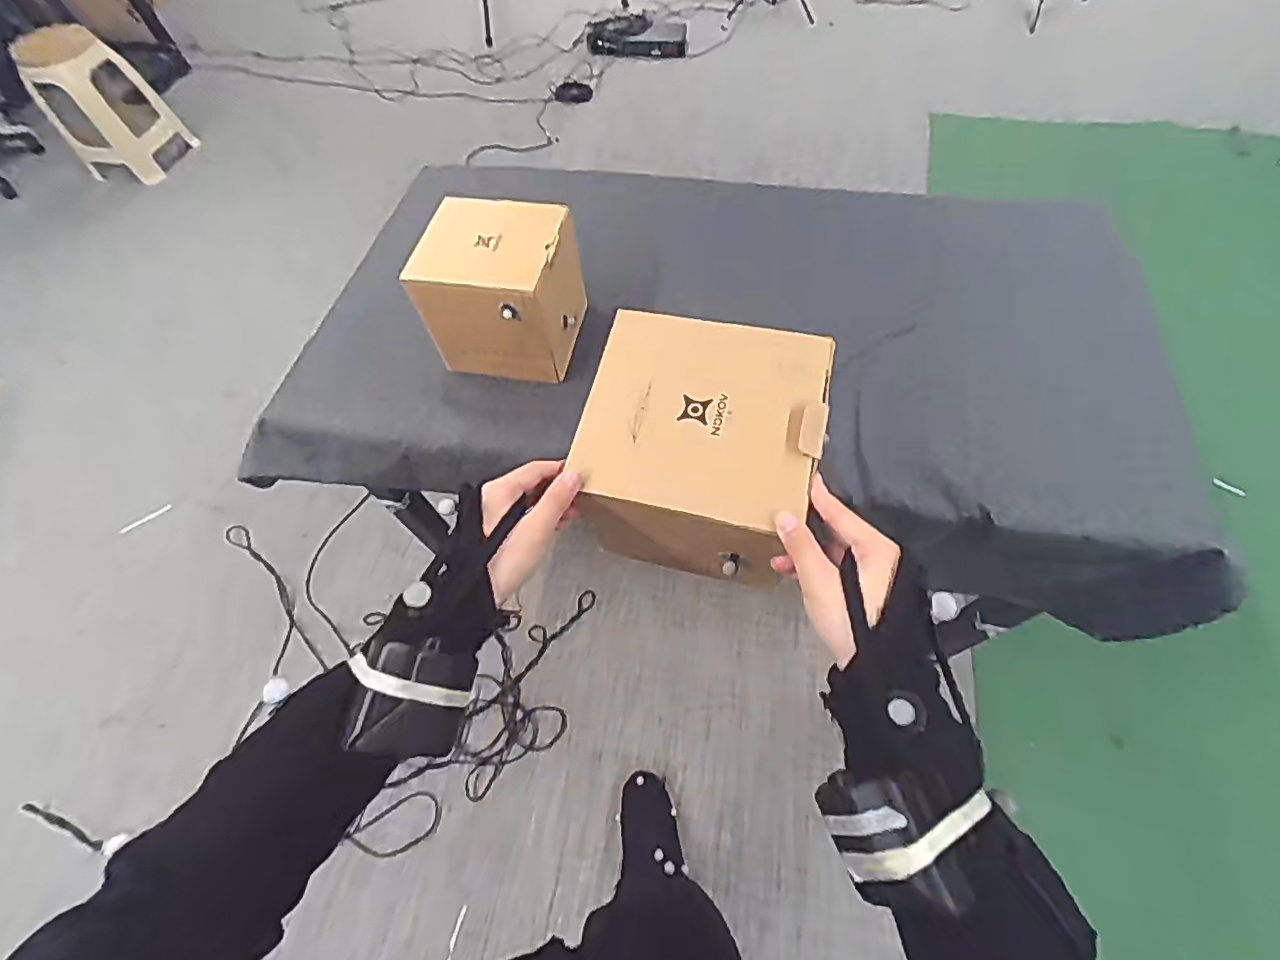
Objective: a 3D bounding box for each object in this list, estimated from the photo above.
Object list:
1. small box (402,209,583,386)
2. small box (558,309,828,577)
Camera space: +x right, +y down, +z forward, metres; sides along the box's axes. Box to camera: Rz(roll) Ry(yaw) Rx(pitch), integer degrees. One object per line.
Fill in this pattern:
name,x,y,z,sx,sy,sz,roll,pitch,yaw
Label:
small box,-0.190,-0.250,0.757,0.179,0.176,0.168,7,60,8
small box,0.053,-0.023,0.476,0.179,0.176,0.168,9,67,14
